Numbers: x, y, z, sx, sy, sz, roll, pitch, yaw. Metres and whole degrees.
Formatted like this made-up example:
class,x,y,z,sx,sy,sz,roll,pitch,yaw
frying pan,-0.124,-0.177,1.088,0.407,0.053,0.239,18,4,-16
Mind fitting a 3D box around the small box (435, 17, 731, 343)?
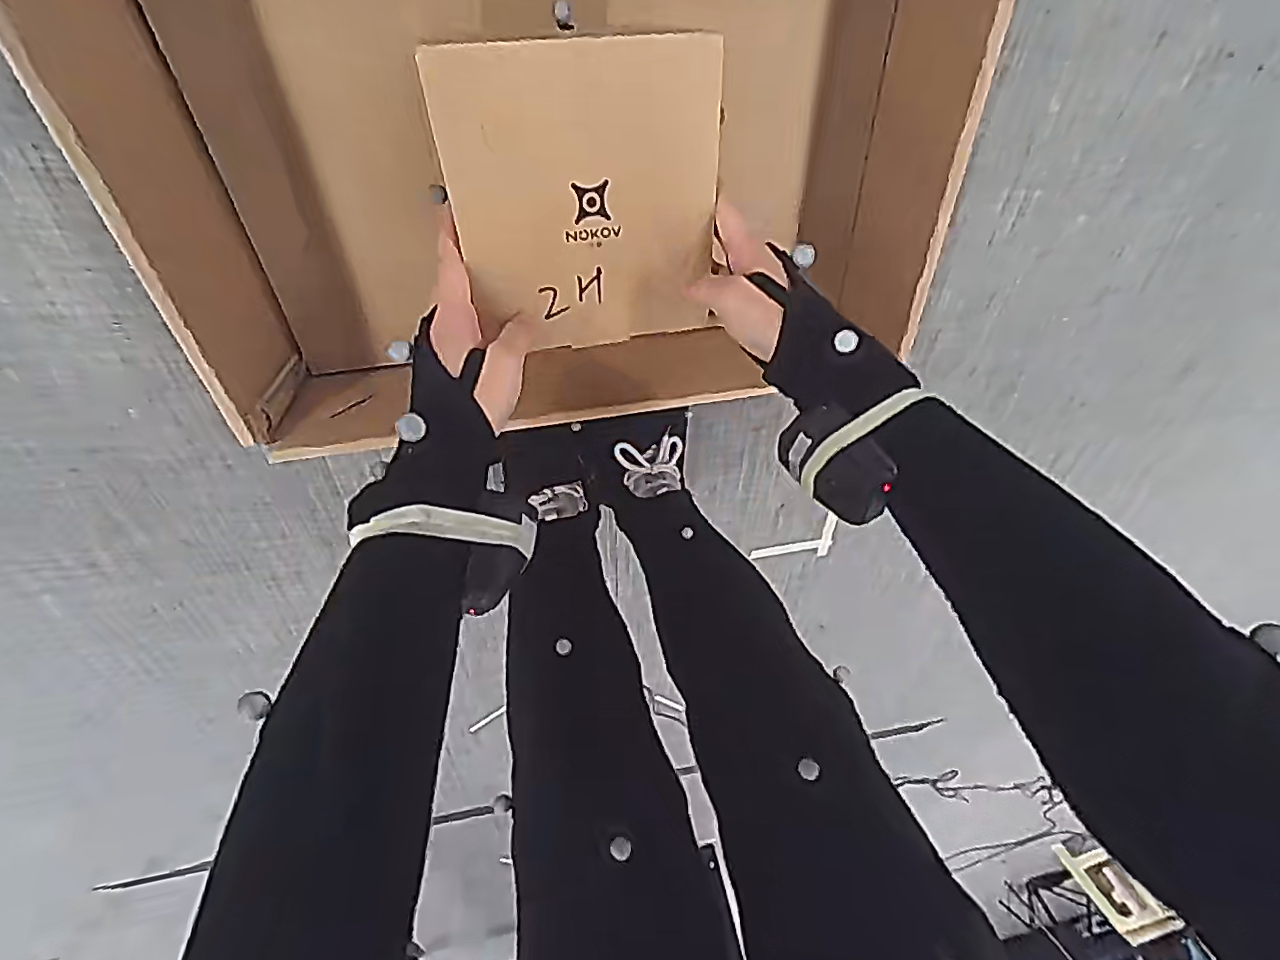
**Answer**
class,x,y,z,sx,sy,sz,roll,pitch,yaw
small box,-0.047,-0.226,0.398,0.168,0.176,0.179,-10,133,-10
